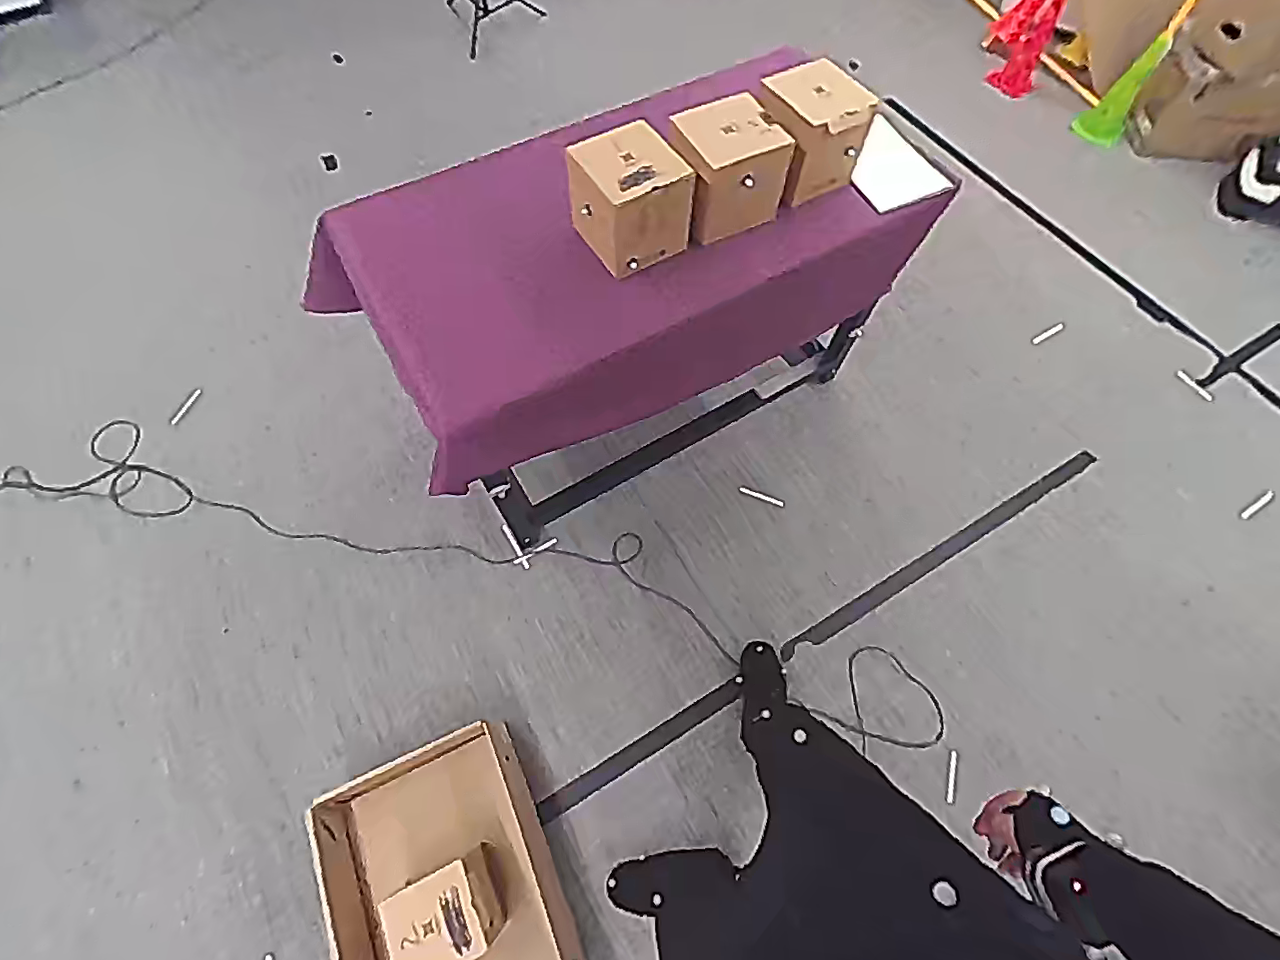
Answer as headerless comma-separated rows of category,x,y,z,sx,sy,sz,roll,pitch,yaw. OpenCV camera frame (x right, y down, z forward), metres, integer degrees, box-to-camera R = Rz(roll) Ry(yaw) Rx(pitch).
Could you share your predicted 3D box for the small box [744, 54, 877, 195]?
small box,0.337,-0.716,1.107,0.168,0.176,0.179,-27,68,-13
